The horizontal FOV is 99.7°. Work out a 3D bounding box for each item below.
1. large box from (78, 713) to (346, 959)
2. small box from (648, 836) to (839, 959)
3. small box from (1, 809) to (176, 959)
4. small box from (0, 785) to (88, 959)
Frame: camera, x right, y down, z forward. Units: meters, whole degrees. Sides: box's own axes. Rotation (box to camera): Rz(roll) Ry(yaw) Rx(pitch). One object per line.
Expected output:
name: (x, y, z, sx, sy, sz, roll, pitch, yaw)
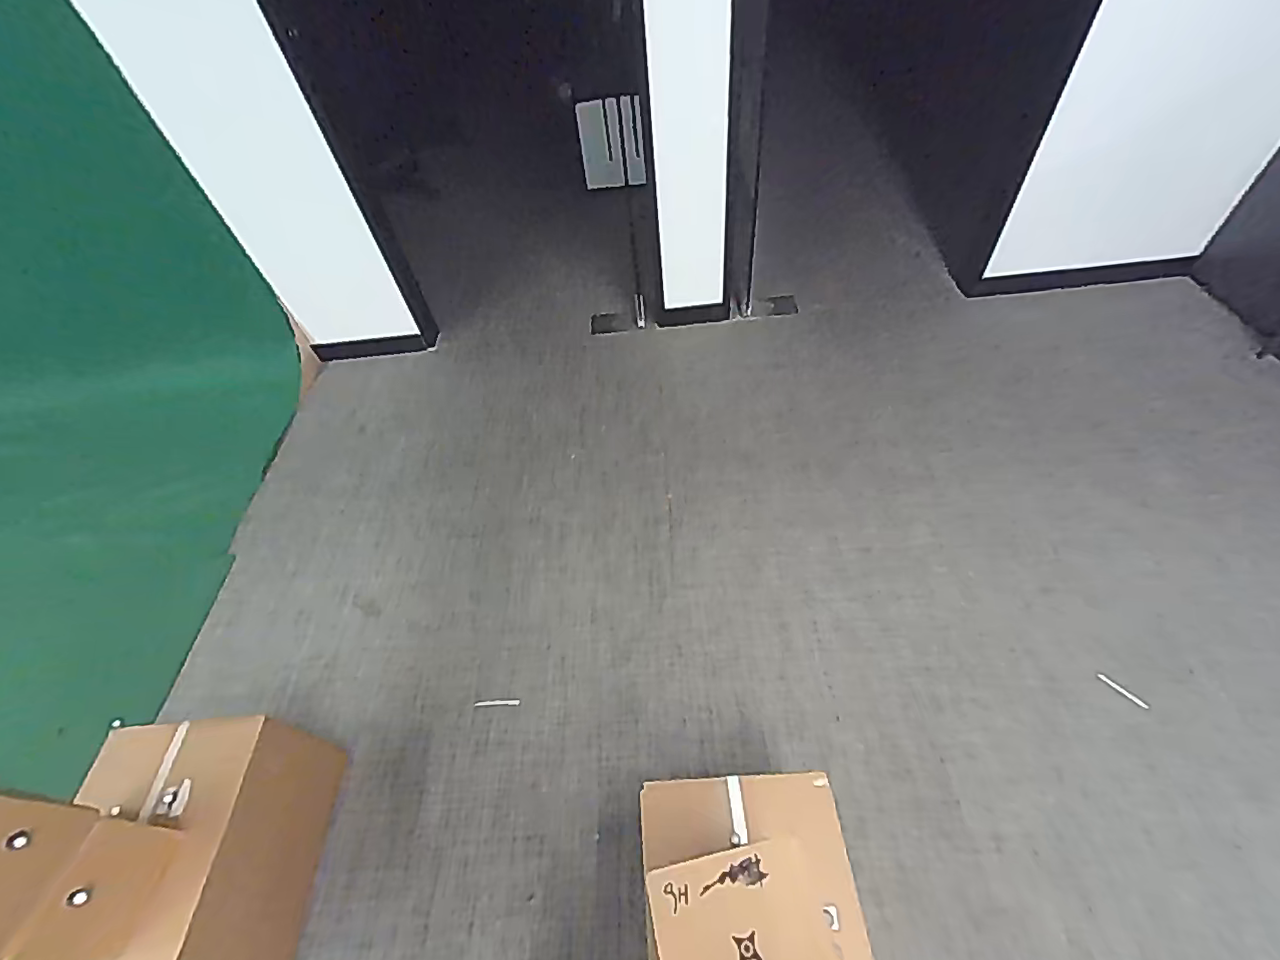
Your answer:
large box: (-0.835, 0.711, 1.033, 0.320, 0.320, 0.408, -6, 50, 2)
small box: (0.113, 0.496, 0.567, 0.168, 0.176, 0.179, -13, 52, -2)
small box: (-0.862, 0.602, 0.812, 0.168, 0.176, 0.179, 3, 53, 10)
small box: (-0.884, 0.495, 0.691, 0.168, 0.176, 0.179, 5, 54, 12)
